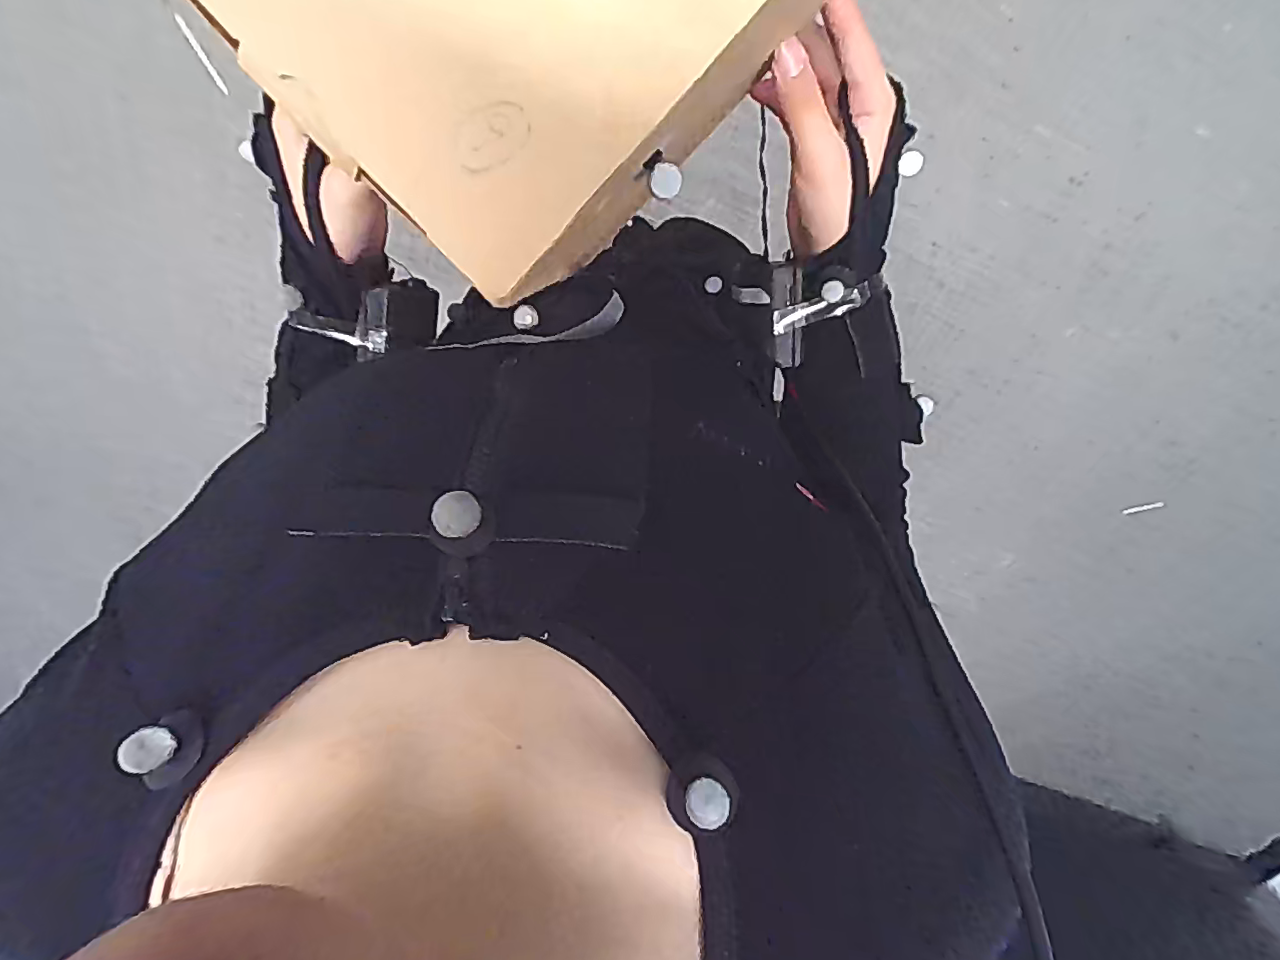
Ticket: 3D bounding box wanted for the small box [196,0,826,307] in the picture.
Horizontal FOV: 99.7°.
[{"bbox_3d":[-0.034,-0.198,0.215,0.179,0.176,0.168,-39,106,20],"label":"small box"}]
